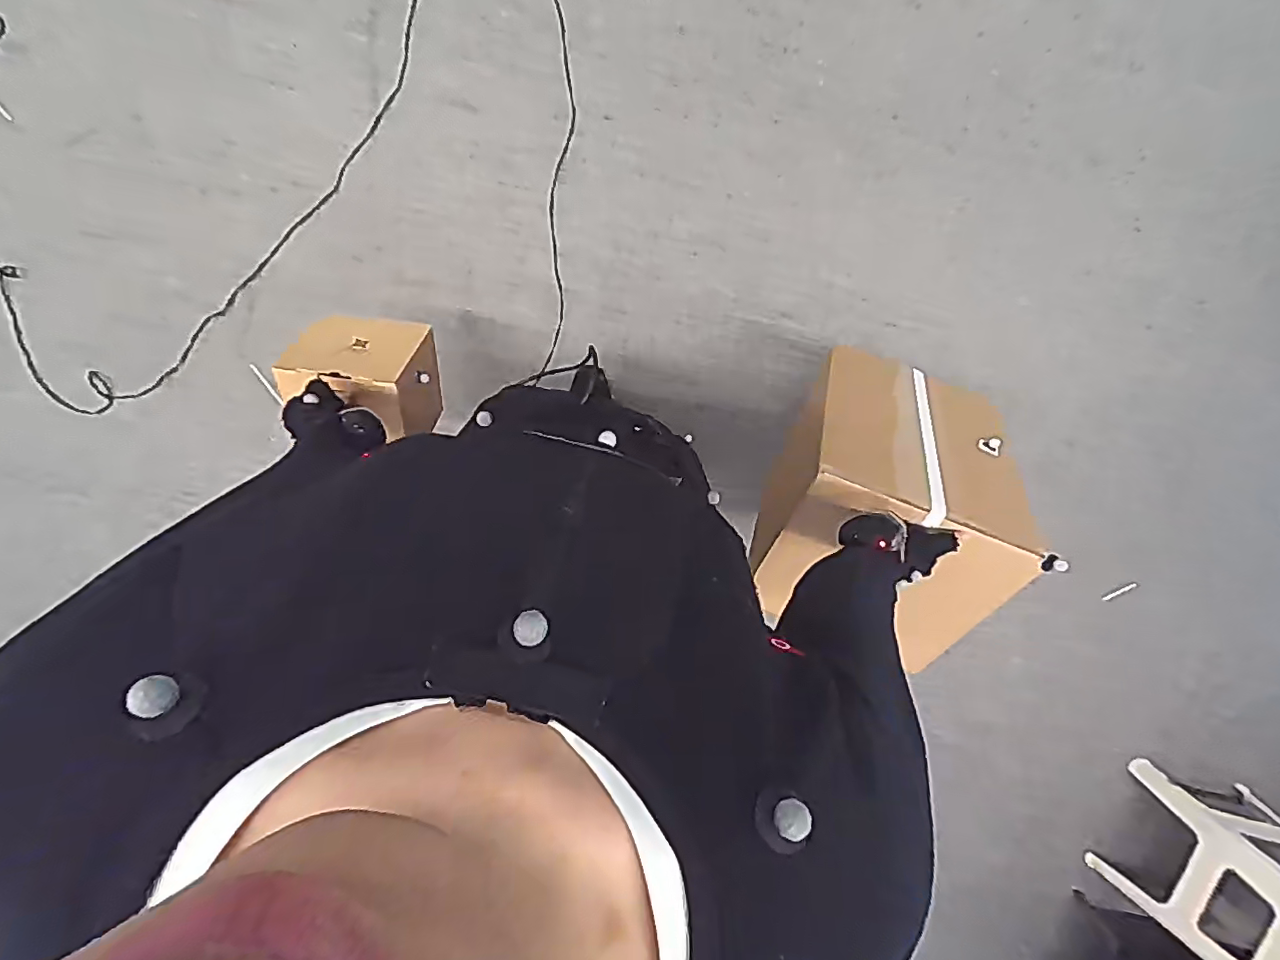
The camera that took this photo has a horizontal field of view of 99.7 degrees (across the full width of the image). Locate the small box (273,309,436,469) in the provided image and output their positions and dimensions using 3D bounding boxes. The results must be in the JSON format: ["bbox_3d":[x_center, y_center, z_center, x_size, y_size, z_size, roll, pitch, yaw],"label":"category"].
[{"bbox_3d":[-0.431,-0.143,0.854,0.168,0.179,0.176,6,133,-5],"label":"small box"}]
